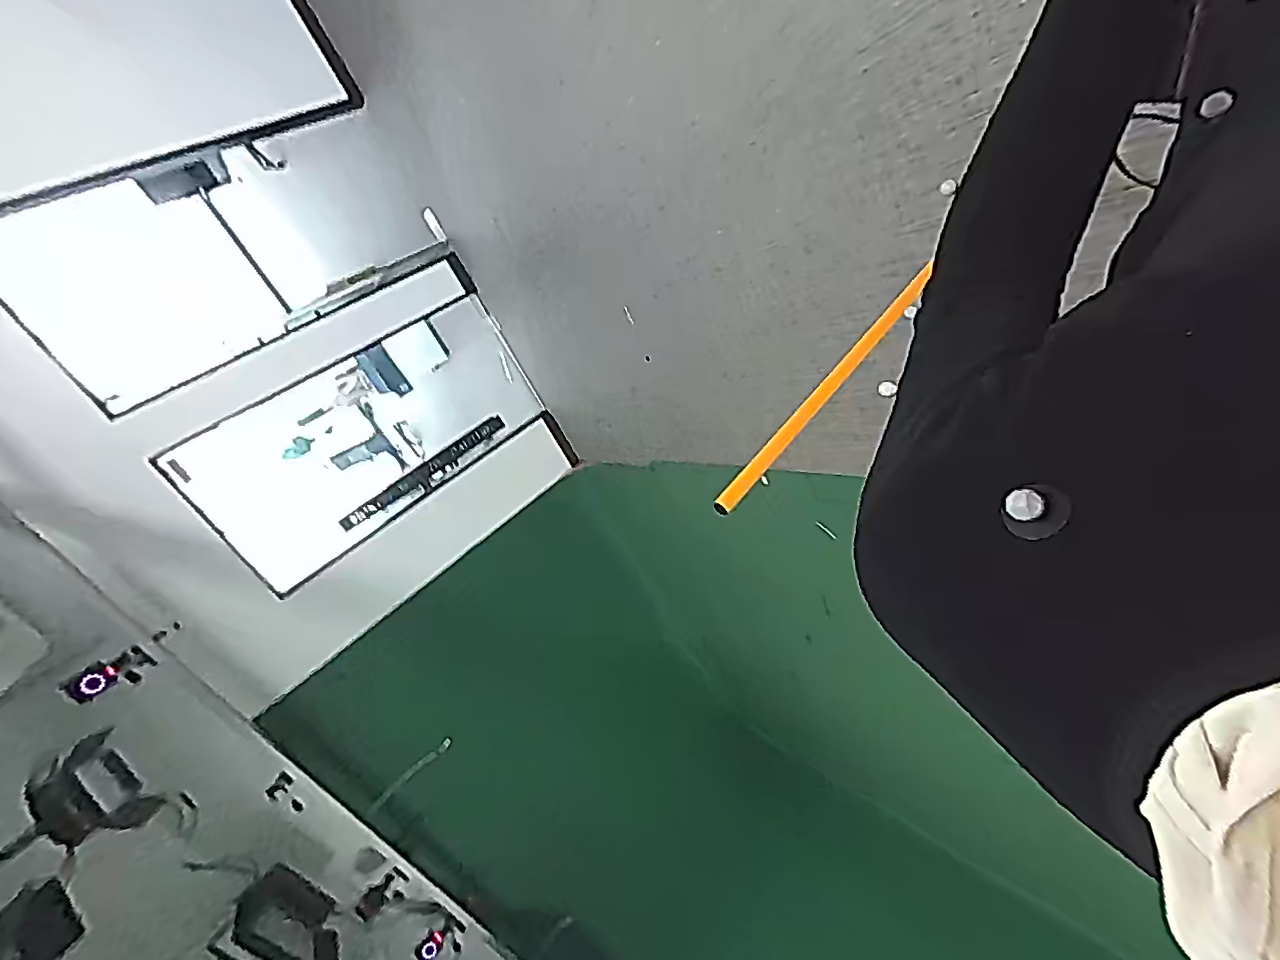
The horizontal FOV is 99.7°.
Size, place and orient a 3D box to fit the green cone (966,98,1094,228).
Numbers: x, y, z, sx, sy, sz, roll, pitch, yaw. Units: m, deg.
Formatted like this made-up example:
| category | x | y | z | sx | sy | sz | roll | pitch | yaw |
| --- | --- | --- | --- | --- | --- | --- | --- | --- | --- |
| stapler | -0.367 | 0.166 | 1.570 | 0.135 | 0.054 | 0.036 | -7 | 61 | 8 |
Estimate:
| category | x | y | z | sx | sy | sz | roll | pitch | yaw |
| --- | --- | --- | --- | --- | --- | --- | --- | --- | --- |
| green cone | 0.771 | -0.610 | 1.133 | 0.202 | 0.368 | 0.200 | 7 | 131 | 52 |
